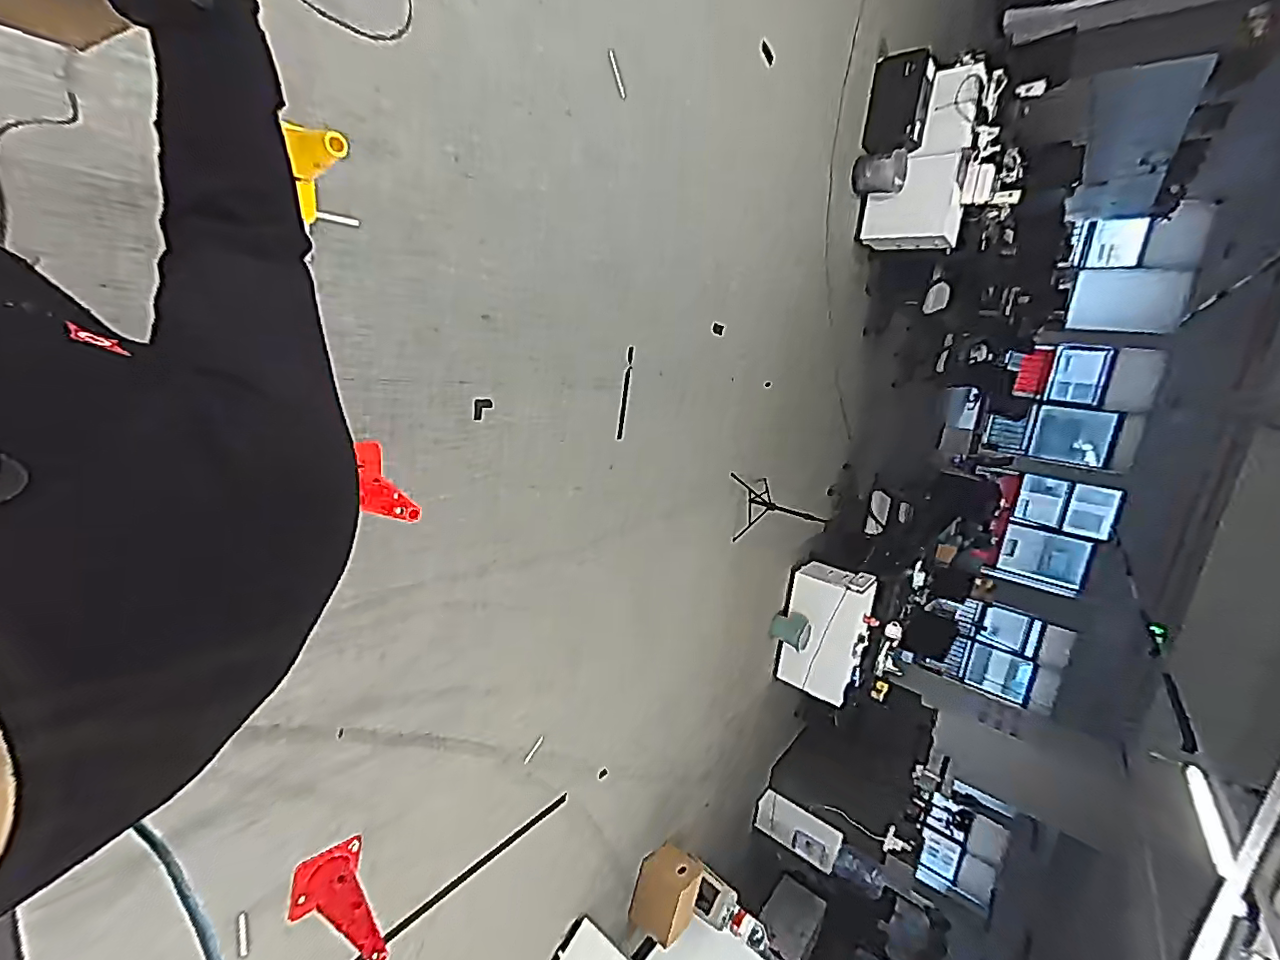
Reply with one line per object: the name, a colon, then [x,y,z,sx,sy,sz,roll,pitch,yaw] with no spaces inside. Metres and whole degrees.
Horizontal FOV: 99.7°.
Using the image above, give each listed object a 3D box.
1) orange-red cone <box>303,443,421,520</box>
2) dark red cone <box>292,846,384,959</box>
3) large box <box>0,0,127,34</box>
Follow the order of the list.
orange-red cone: [-0.671,0.037,1.372,0.198,0.360,0.199,-14,113,-51]
dark red cone: [-0.847,1.307,1.591,0.201,0.394,0.202,0,103,-52]
large box: [-0.537,-0.496,0.250,0.408,0.320,0.320,-12,121,-51]
